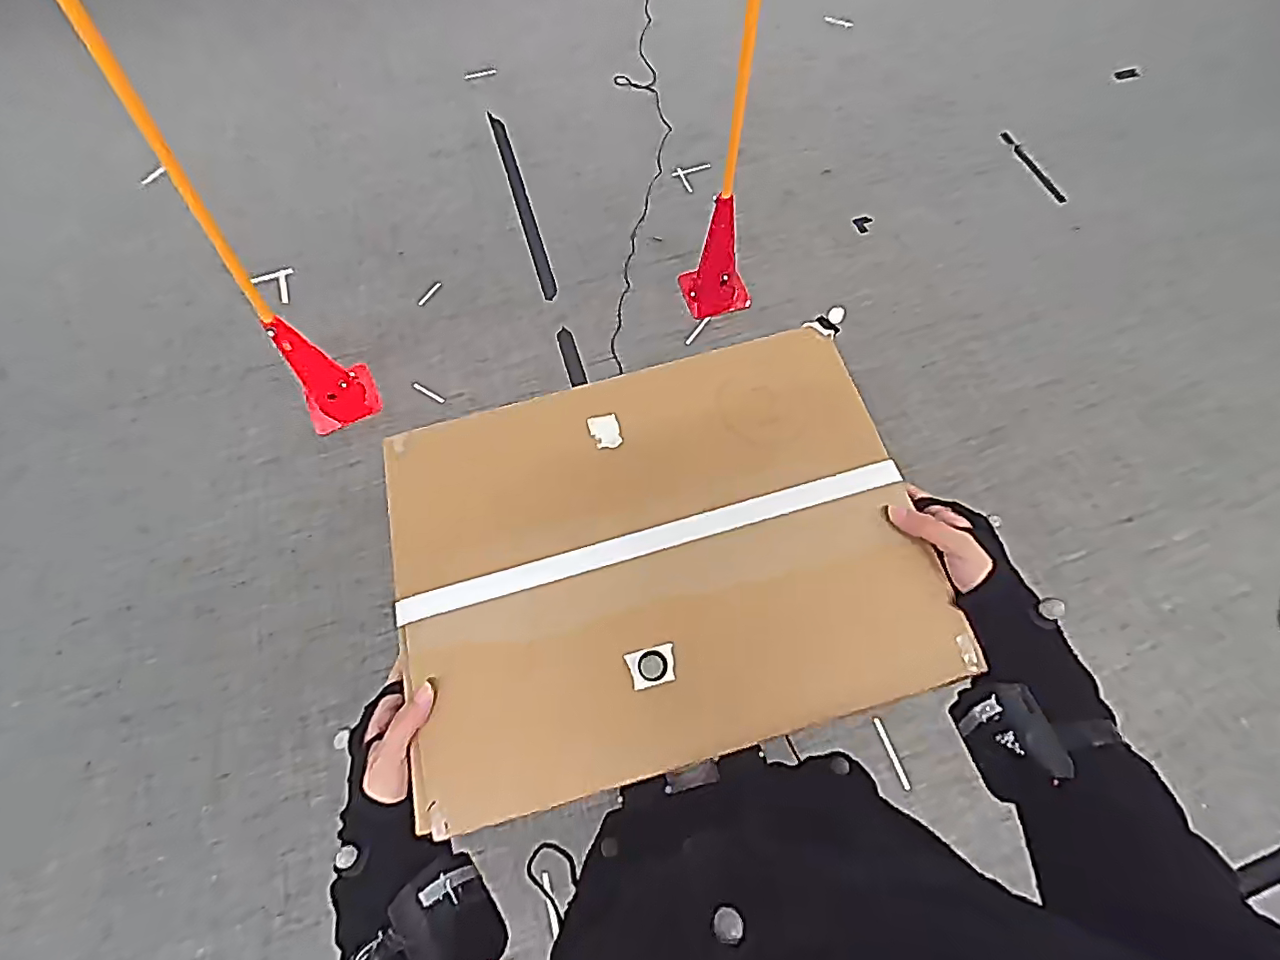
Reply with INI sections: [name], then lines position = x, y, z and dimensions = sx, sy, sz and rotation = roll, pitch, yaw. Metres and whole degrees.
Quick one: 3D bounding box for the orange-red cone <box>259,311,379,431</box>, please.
[orange-red cone]
position = -0.901, -0.322, 1.469
dimensions = 0.199, 0.360, 0.198
rotation = -26, 67, -9
